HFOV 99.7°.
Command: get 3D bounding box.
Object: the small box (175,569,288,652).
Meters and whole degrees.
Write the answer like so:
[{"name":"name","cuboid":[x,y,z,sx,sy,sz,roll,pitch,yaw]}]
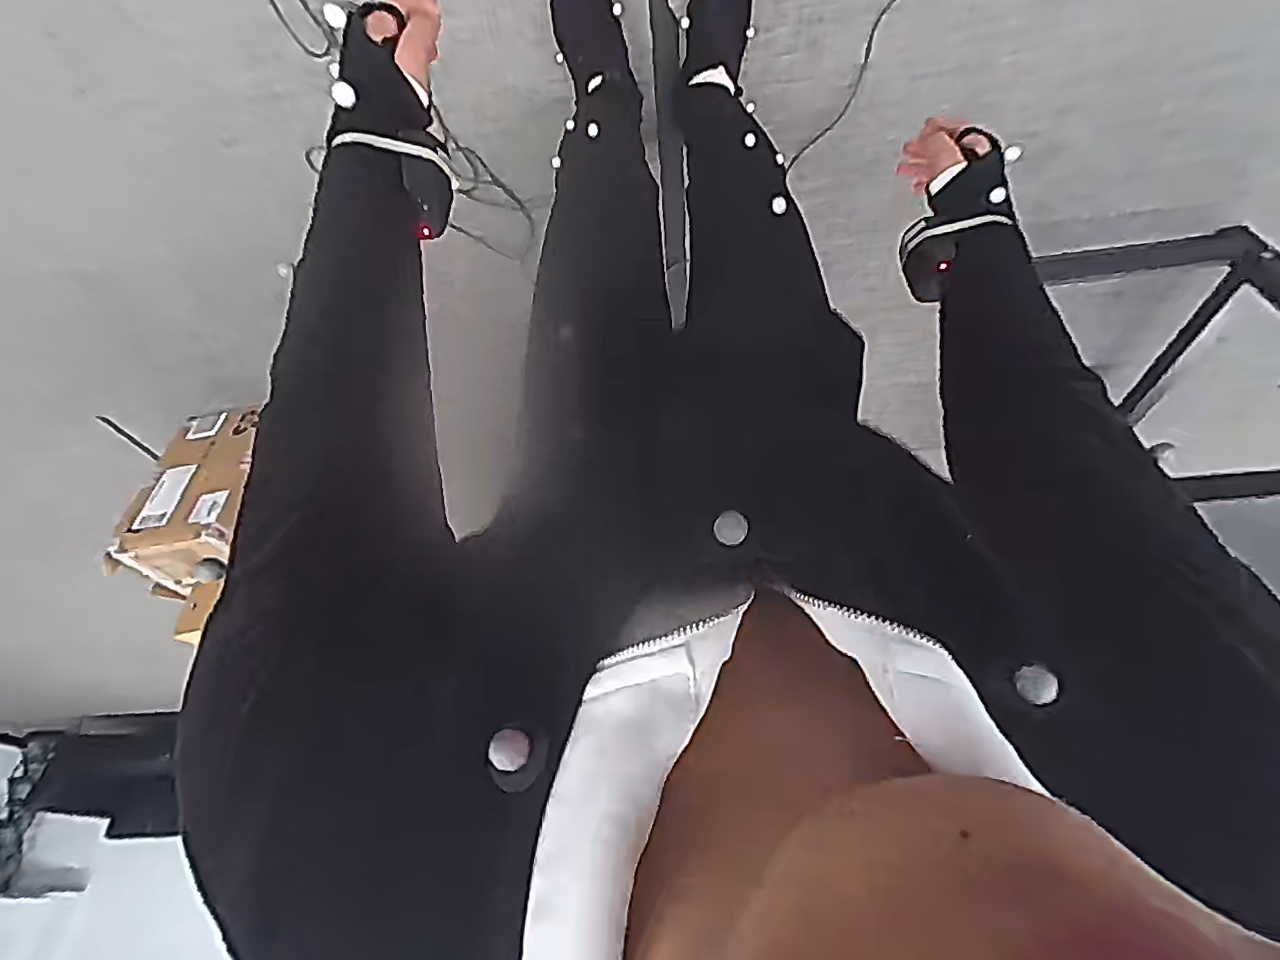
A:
[{"name":"small box","cuboid":[-1.162,0.376,1.555,0.179,0.176,0.168,-15,143,11]}]
